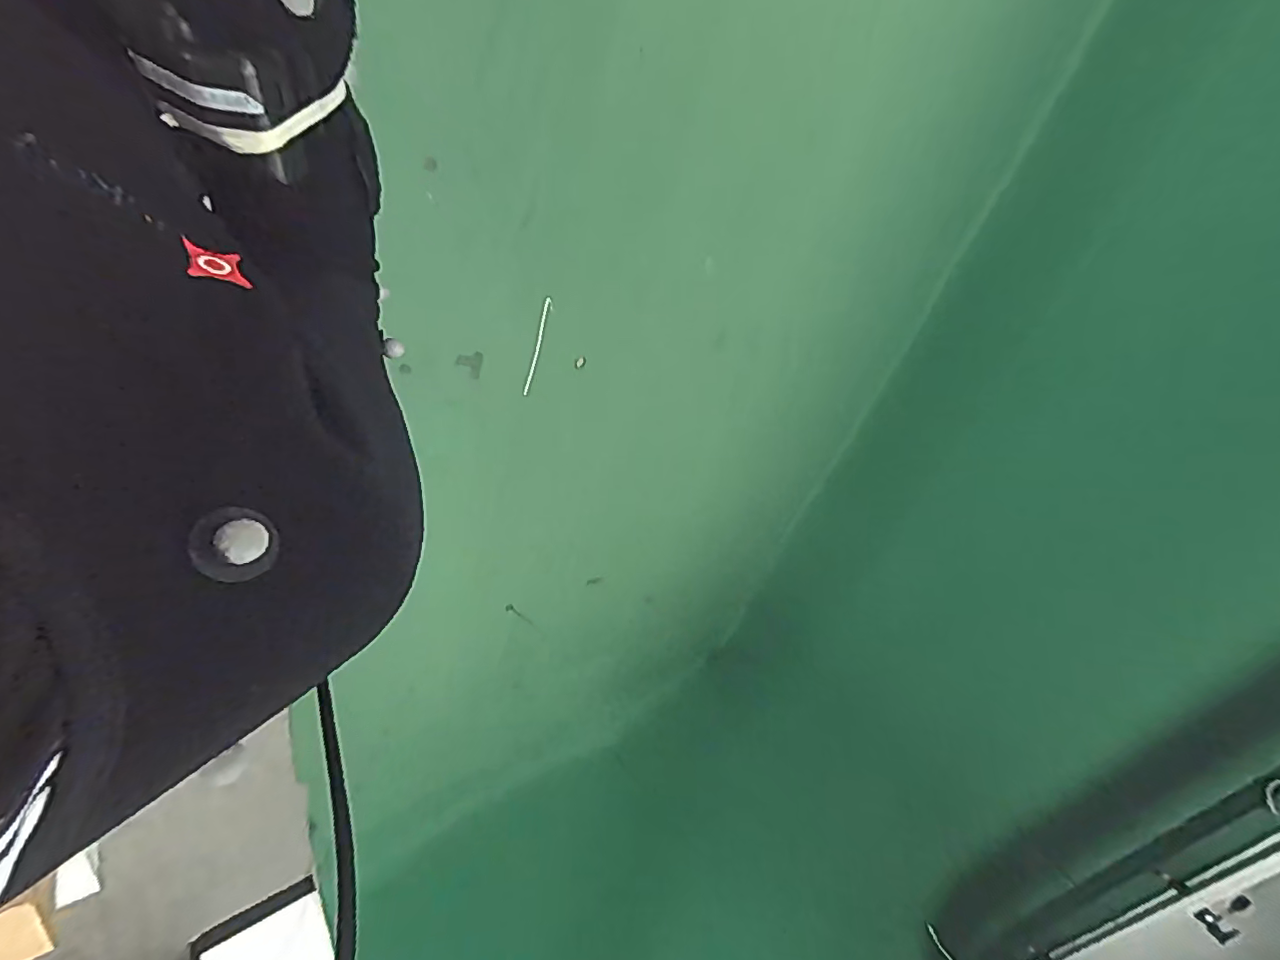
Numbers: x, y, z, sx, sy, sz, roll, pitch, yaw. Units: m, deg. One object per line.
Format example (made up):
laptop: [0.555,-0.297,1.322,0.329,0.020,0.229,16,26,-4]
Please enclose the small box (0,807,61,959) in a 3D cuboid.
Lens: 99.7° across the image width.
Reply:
small box: [-0.968,0.613,0.779,0.168,0.176,0.179,-6,131,-41]
